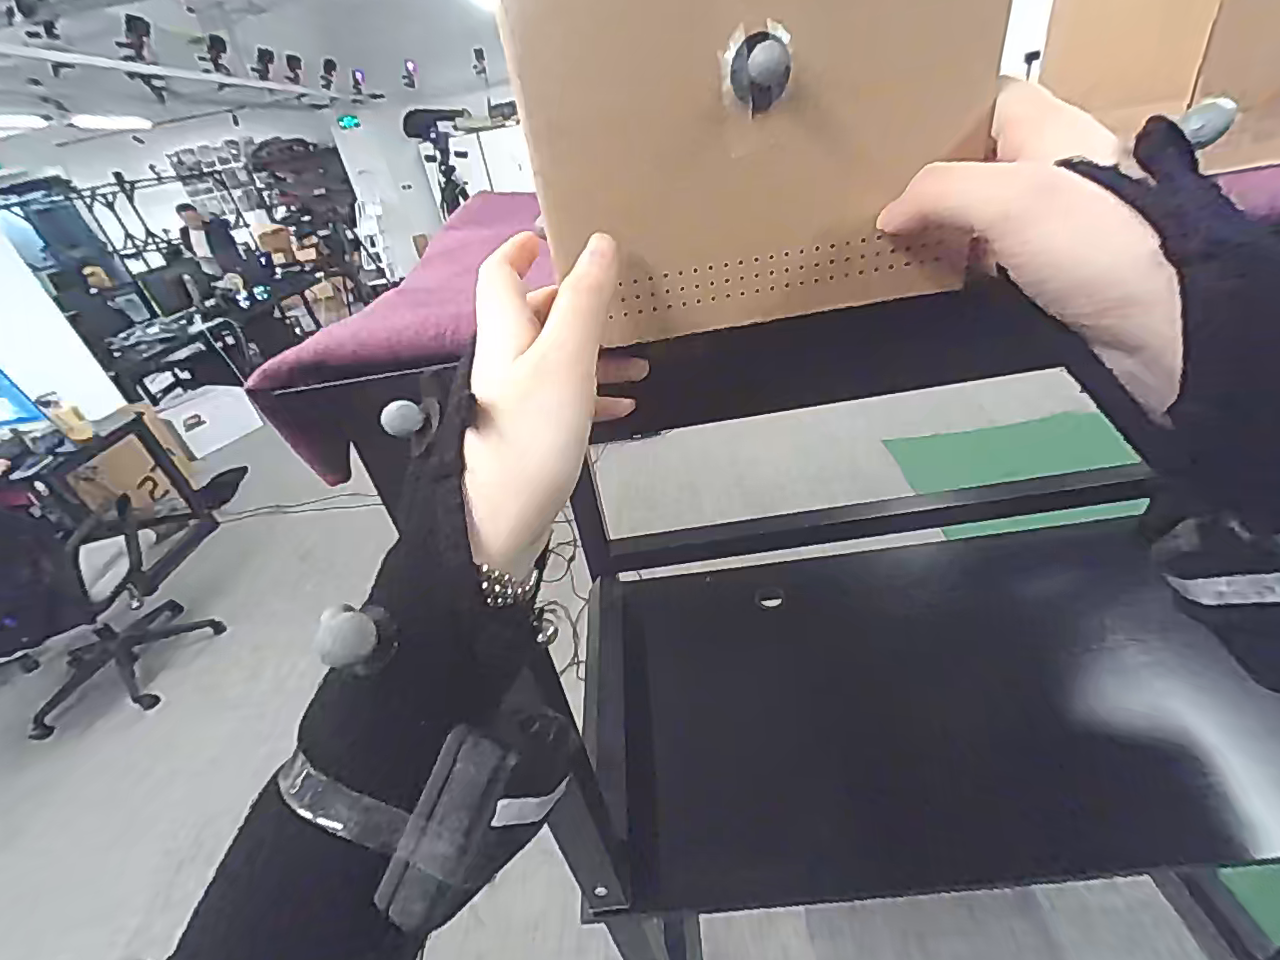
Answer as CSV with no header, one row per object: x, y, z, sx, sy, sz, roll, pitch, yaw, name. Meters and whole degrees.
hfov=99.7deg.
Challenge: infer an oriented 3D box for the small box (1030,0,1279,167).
0.401,-0.315,0.358,0.168,0.176,0.179,-6,32,8,small box
